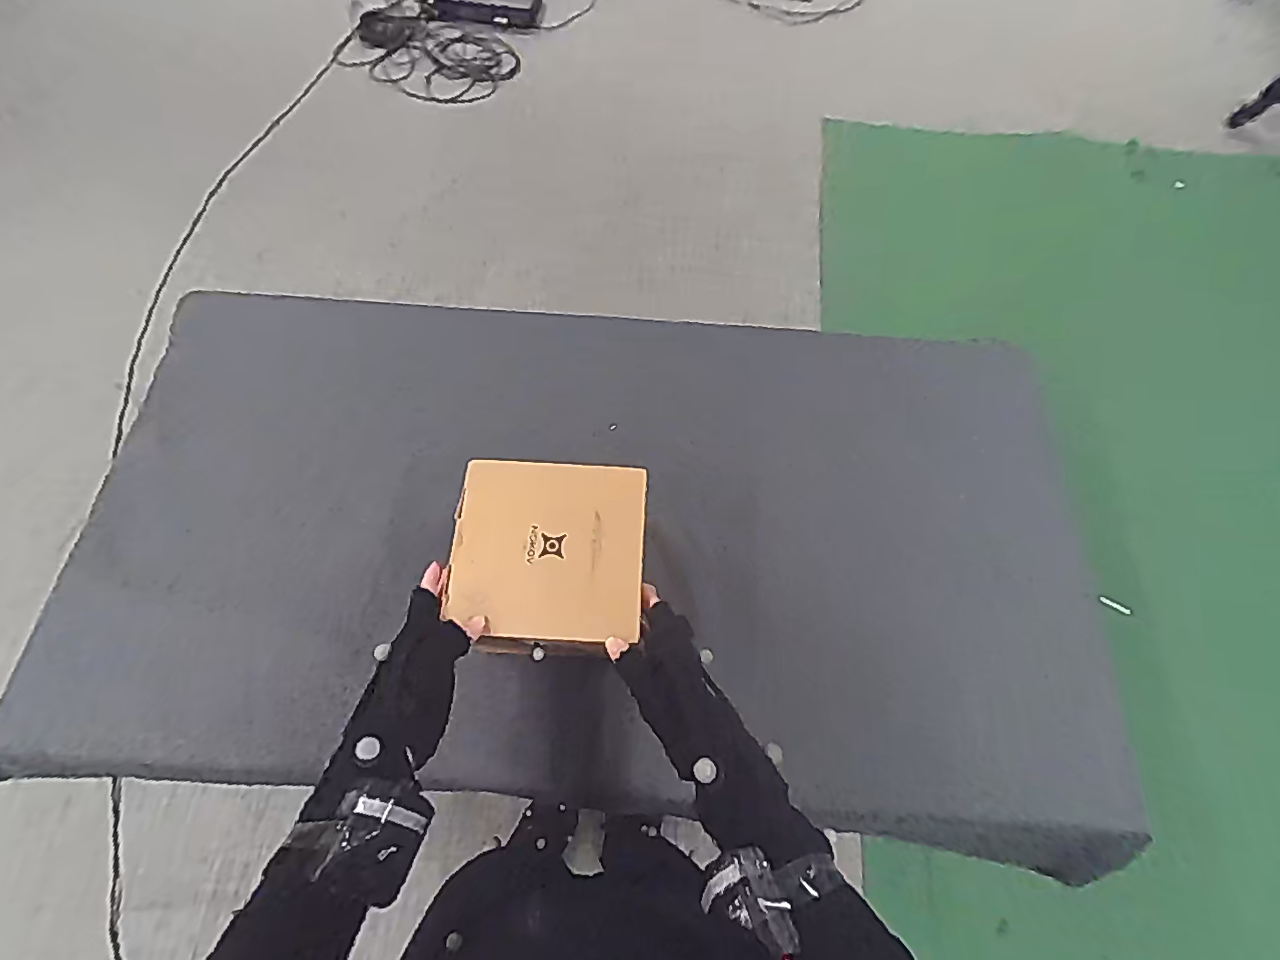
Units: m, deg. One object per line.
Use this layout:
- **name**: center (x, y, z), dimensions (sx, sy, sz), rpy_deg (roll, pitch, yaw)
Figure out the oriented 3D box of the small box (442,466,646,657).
- **small box**: center (-0.085, 0.095, 0.572), dimensions (0.179, 0.176, 0.168), rpy_deg (2, 68, -1)
